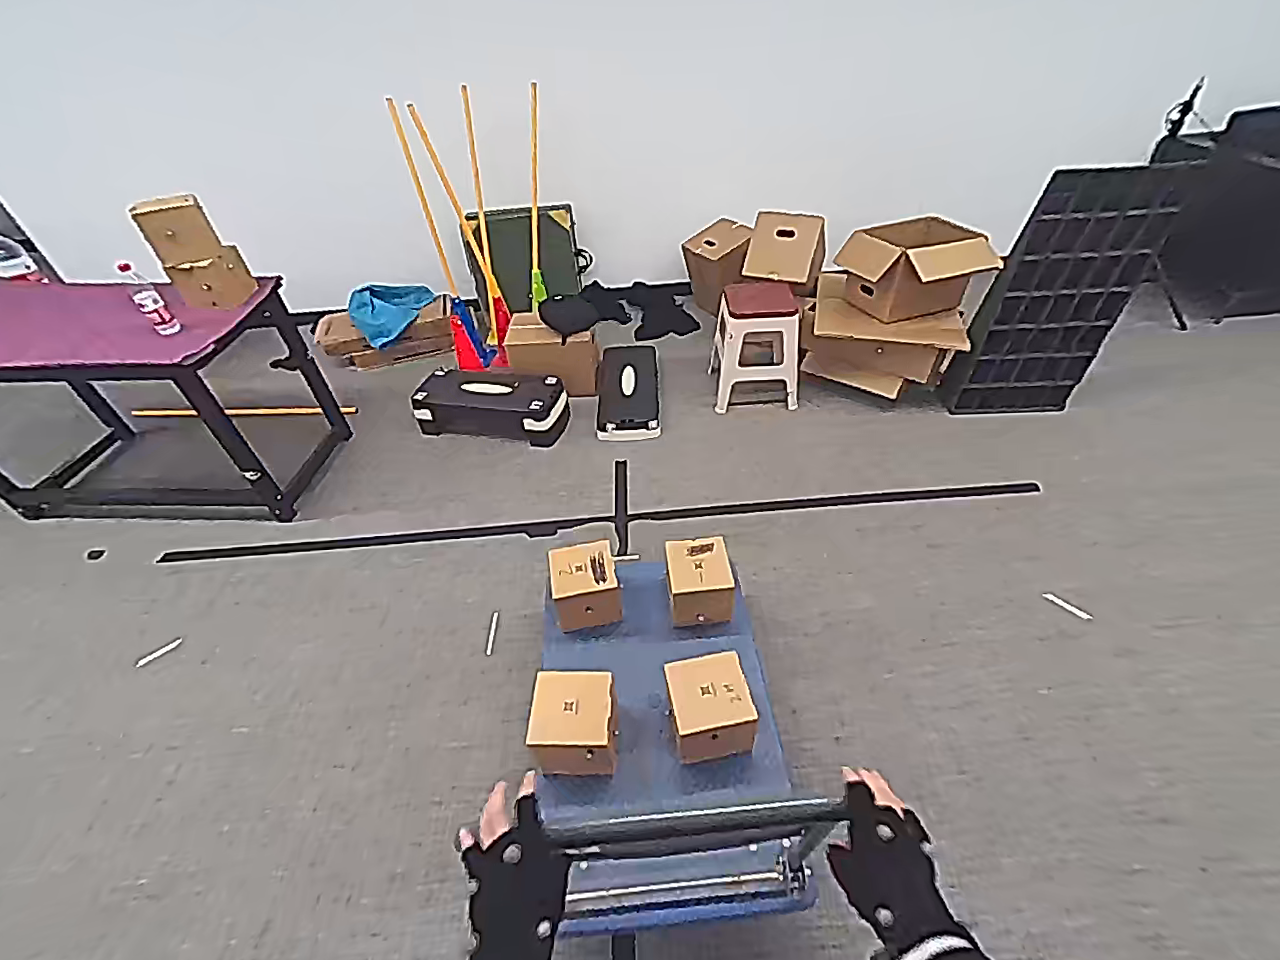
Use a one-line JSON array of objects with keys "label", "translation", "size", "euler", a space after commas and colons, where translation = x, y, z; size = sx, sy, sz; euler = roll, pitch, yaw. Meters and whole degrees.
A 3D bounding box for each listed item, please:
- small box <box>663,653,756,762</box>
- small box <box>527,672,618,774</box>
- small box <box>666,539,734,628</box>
[{"label": "small box", "translation": [0.158, 0.531, 1.255], "size": [0.179, 0.176, 0.168], "euler": [-9, 43, -5]}, {"label": "small box", "translation": [-0.148, 0.562, 1.248], "size": [0.179, 0.176, 0.168], "euler": [-1, 43, 2]}, {"label": "small box", "translation": [0.161, 0.289, 1.514], "size": [0.168, 0.176, 0.179], "euler": [-6, 44, -1]}]
